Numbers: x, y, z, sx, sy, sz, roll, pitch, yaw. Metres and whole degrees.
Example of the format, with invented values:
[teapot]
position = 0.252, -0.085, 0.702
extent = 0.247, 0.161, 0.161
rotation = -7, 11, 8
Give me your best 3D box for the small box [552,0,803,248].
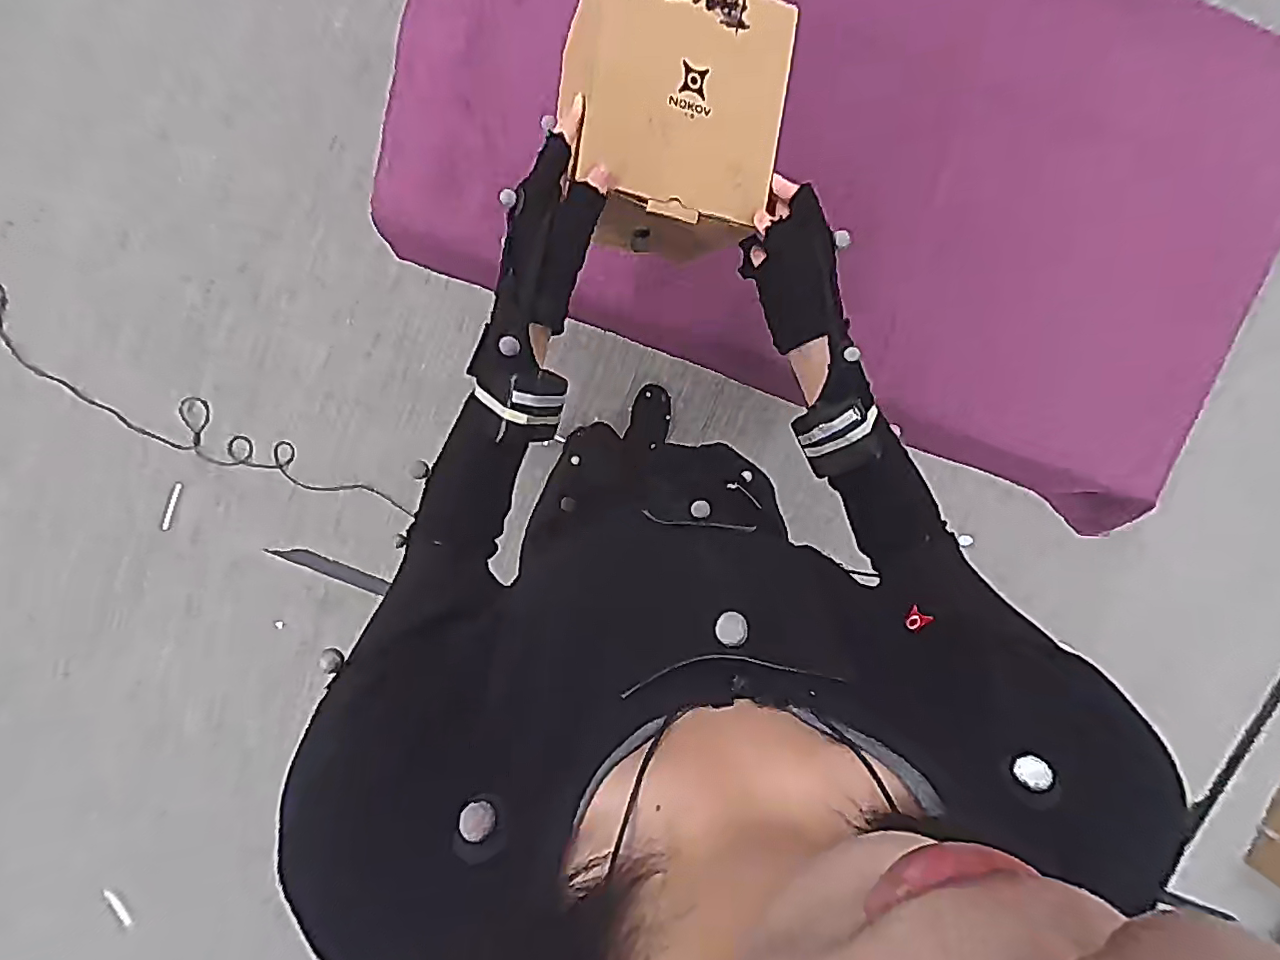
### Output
[small box]
position = 0.018, -0.329, 0.497
extent = 0.168, 0.176, 0.179
rotation = 5, 101, -19
